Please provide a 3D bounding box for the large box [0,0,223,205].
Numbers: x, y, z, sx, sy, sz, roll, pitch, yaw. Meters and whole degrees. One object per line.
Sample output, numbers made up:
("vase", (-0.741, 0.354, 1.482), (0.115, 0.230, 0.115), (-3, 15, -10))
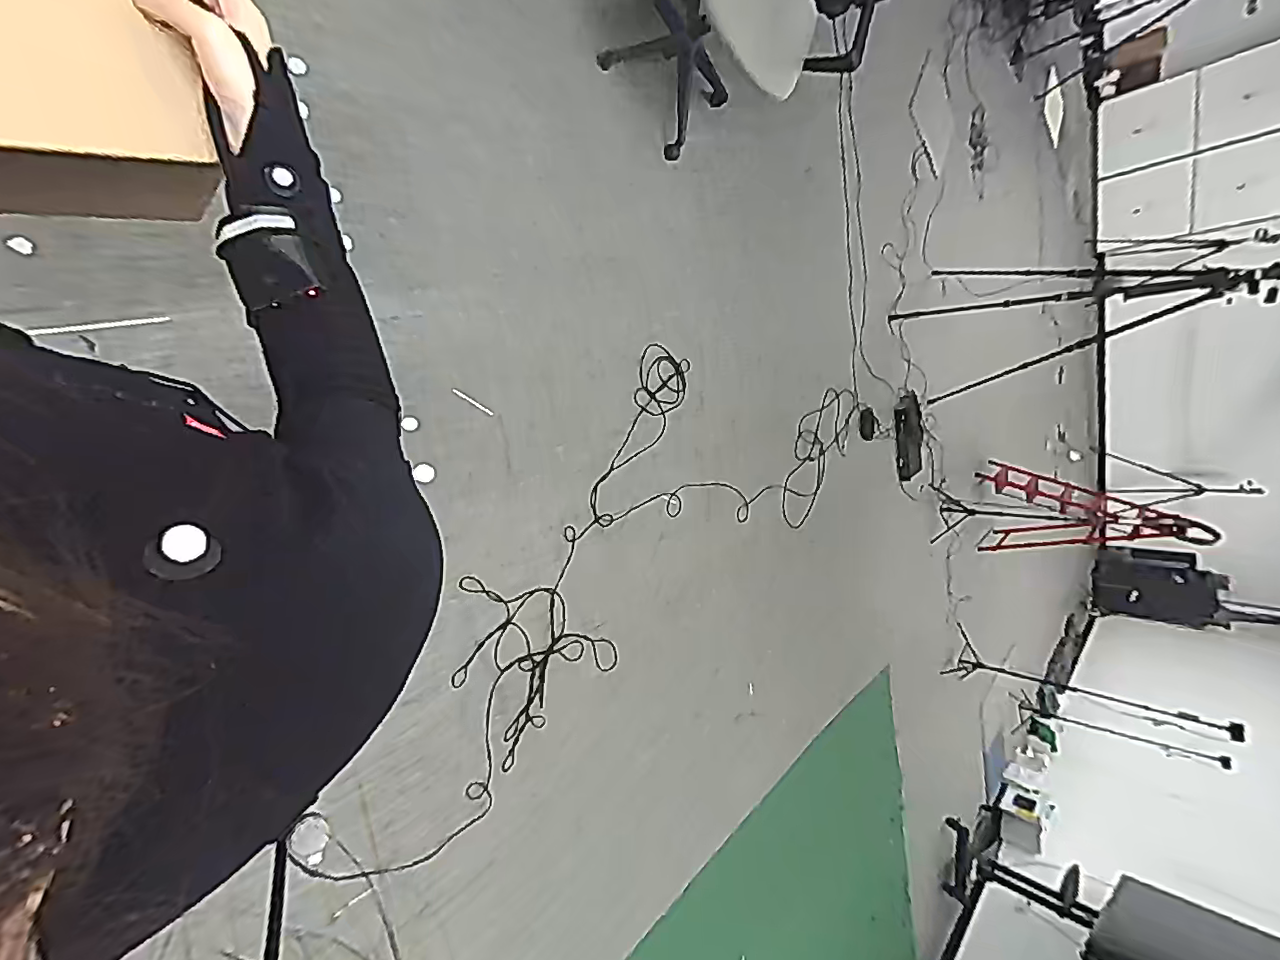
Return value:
("large box", (-0.576, -0.374, 0.359), (0.408, 0.320, 0.320), (-19, 114, -36))
